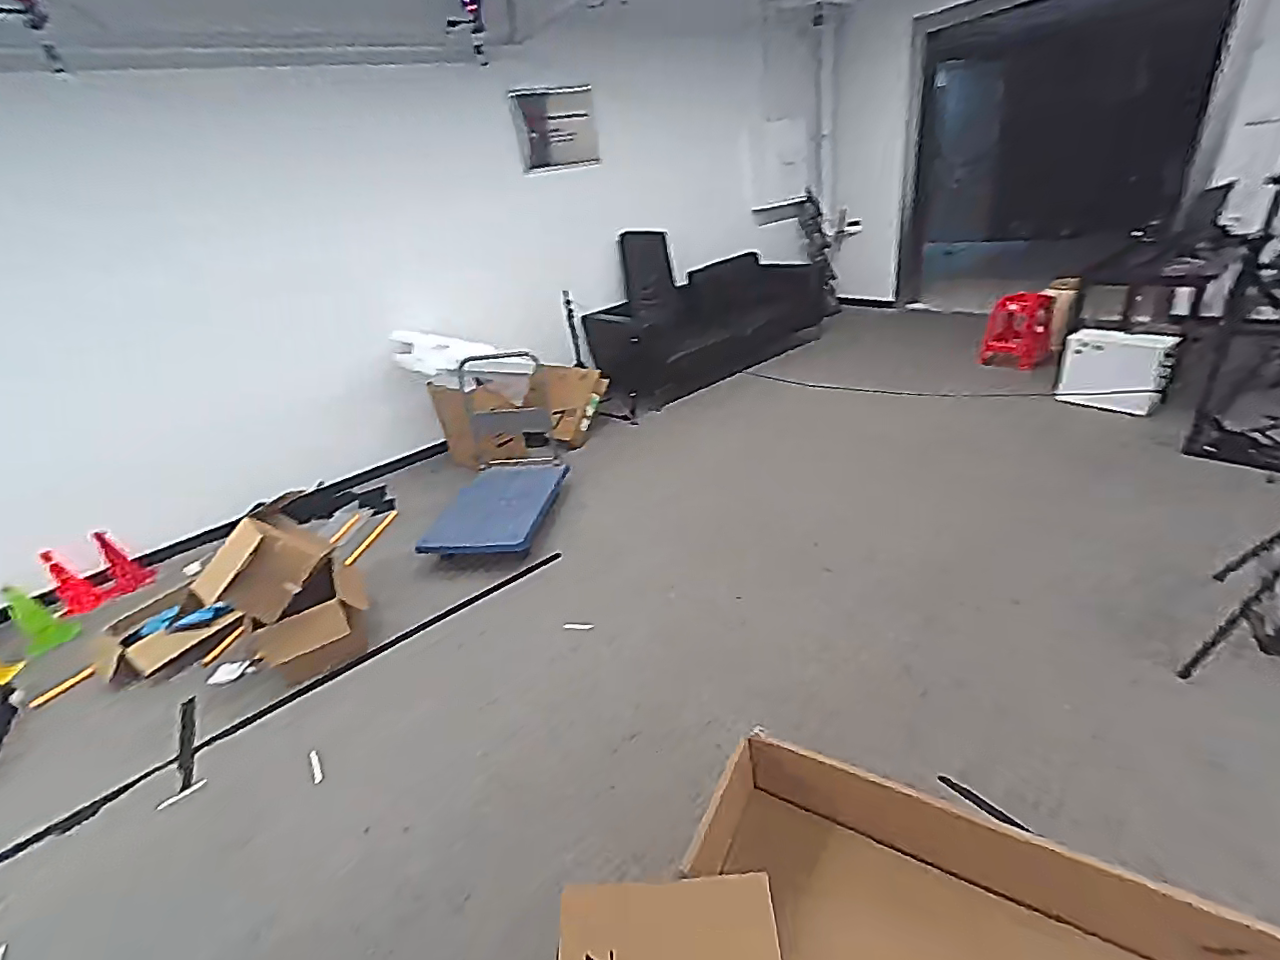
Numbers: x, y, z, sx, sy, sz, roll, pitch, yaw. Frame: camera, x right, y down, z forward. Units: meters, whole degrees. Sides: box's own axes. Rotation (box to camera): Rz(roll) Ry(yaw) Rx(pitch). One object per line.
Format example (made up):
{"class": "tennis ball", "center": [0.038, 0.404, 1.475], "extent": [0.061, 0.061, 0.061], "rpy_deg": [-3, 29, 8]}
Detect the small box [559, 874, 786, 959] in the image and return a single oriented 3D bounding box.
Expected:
{"class": "small box", "center": [0.036, 0.444, 0.440], "extent": [0.179, 0.176, 0.168], "rpy_deg": [-9, 41, 5]}
